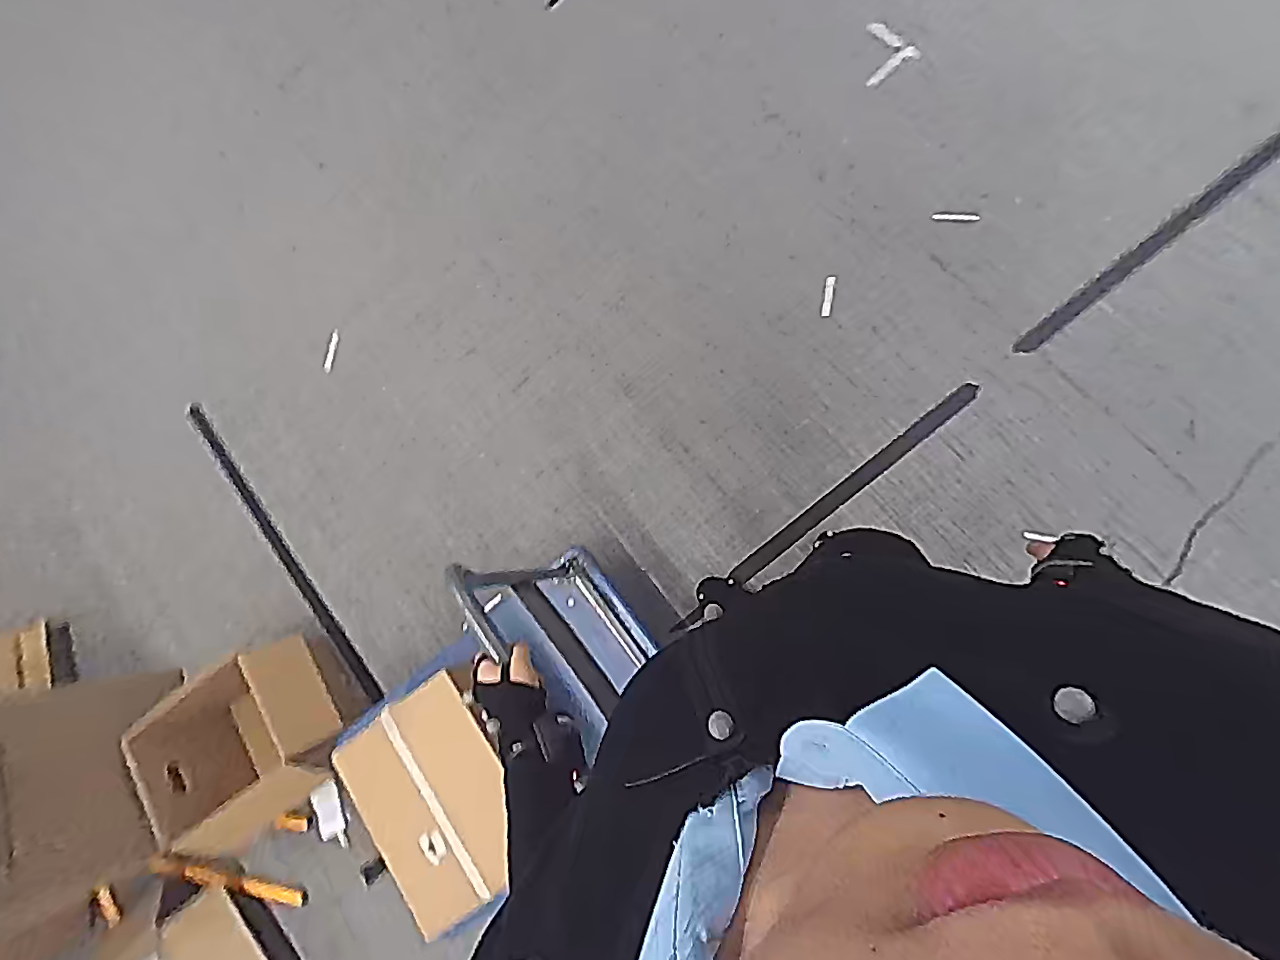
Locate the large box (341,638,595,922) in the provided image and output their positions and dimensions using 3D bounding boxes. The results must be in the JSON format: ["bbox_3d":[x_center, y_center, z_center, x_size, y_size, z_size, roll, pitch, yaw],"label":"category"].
[{"bbox_3d":[-0.365,0.633,1.224,0.320,0.320,0.408,-38,79,4],"label":"large box"}]
